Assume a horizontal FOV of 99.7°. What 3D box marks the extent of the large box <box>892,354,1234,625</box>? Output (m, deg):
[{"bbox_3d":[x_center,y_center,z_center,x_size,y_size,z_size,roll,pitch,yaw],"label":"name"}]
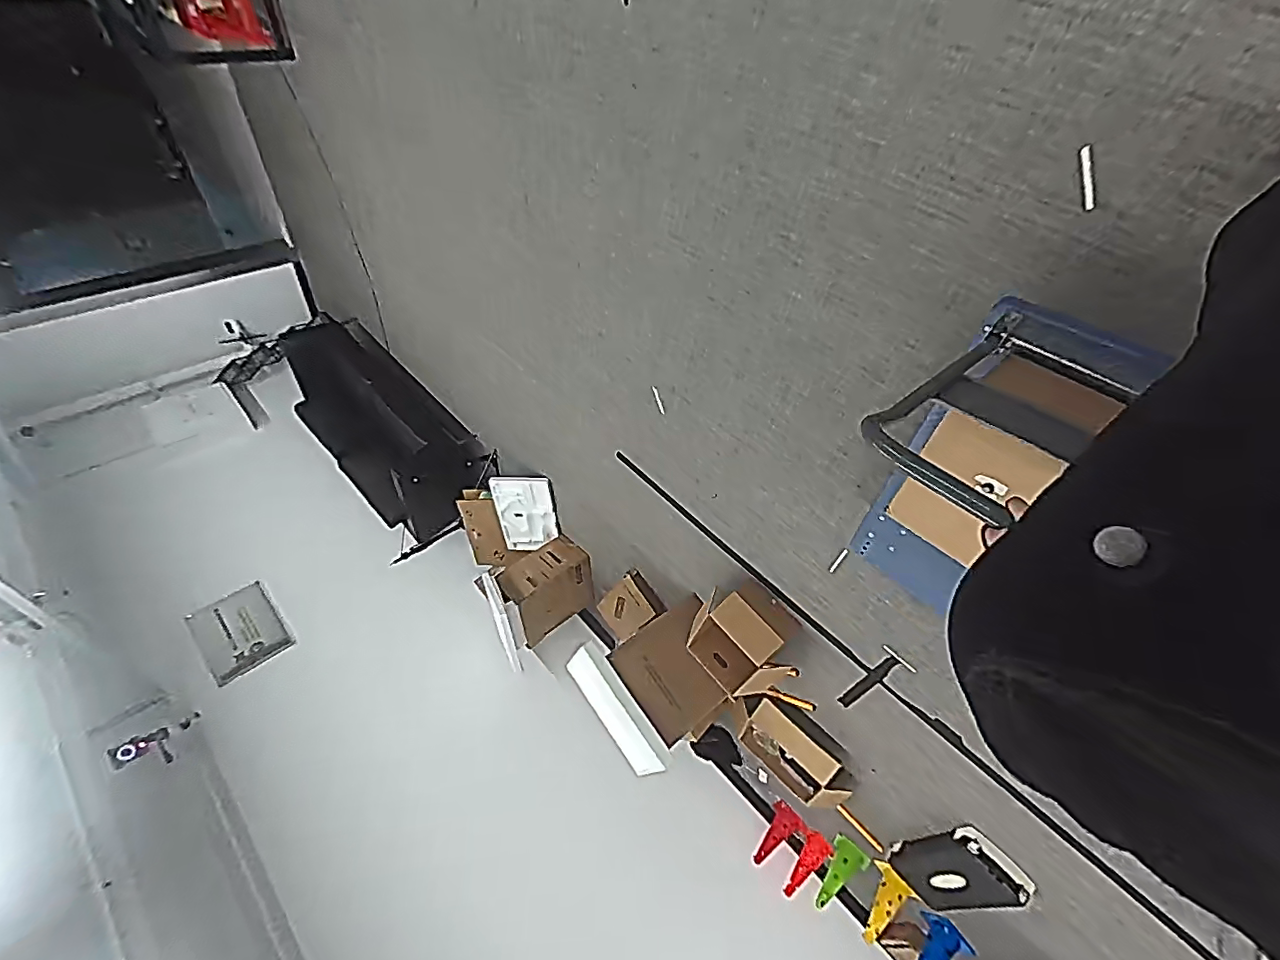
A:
[{"bbox_3d":[0.826,0.003,1.101,0.408,0.320,0.320,40,144,28],"label":"large box"}]
